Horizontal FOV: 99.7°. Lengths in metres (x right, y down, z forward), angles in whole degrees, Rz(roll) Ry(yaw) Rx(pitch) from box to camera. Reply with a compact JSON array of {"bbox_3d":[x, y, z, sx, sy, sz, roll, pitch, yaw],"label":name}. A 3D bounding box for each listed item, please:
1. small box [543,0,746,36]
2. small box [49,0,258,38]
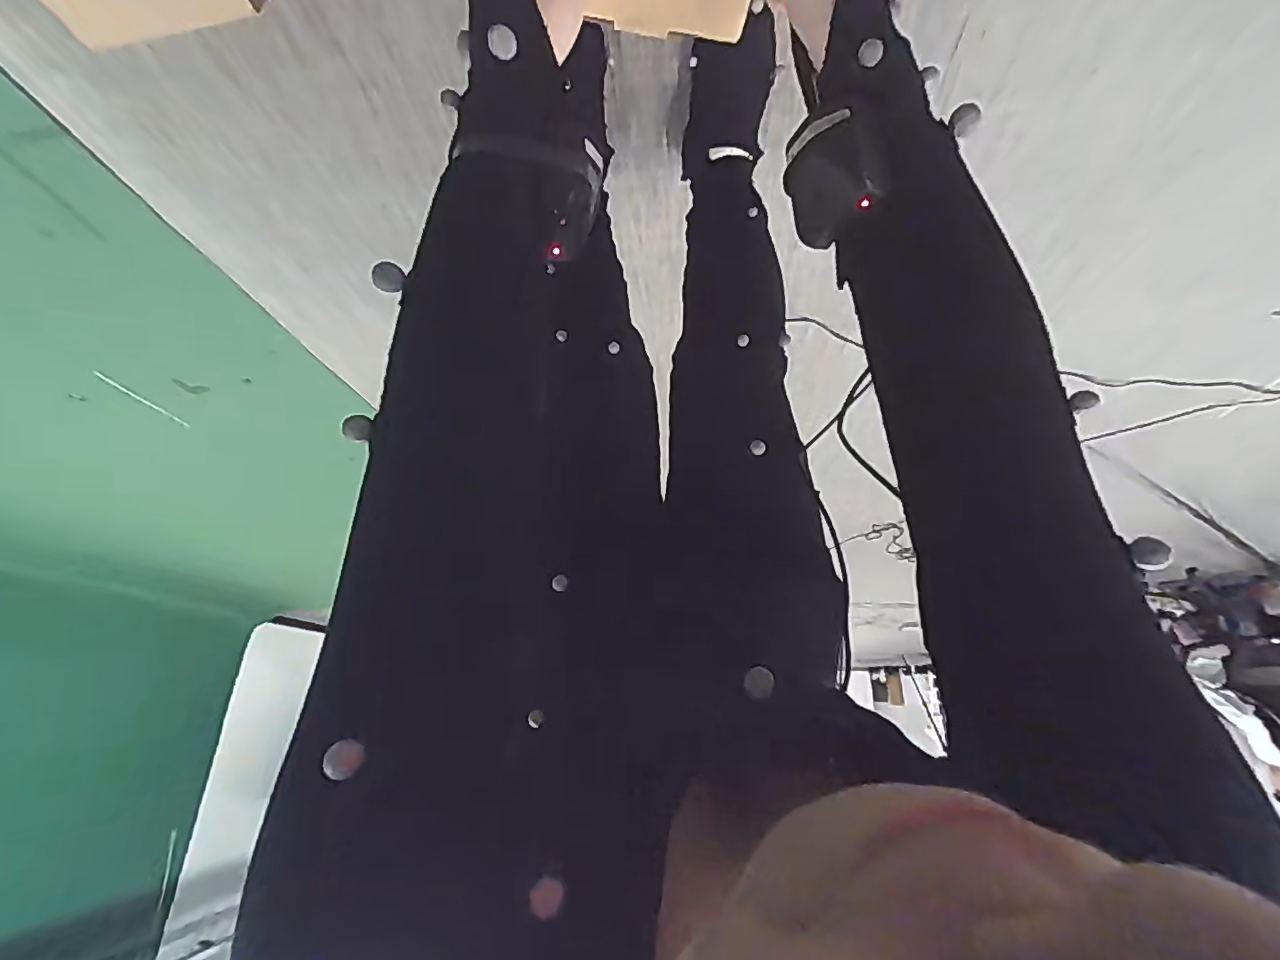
[{"bbox_3d":[0.014,-0.475,0.384,0.168,0.176,0.179,4,157,-7],"label":"small box"},{"bbox_3d":[-0.389,-0.477,0.390,0.168,0.176,0.179,-2,156,10],"label":"small box"}]
